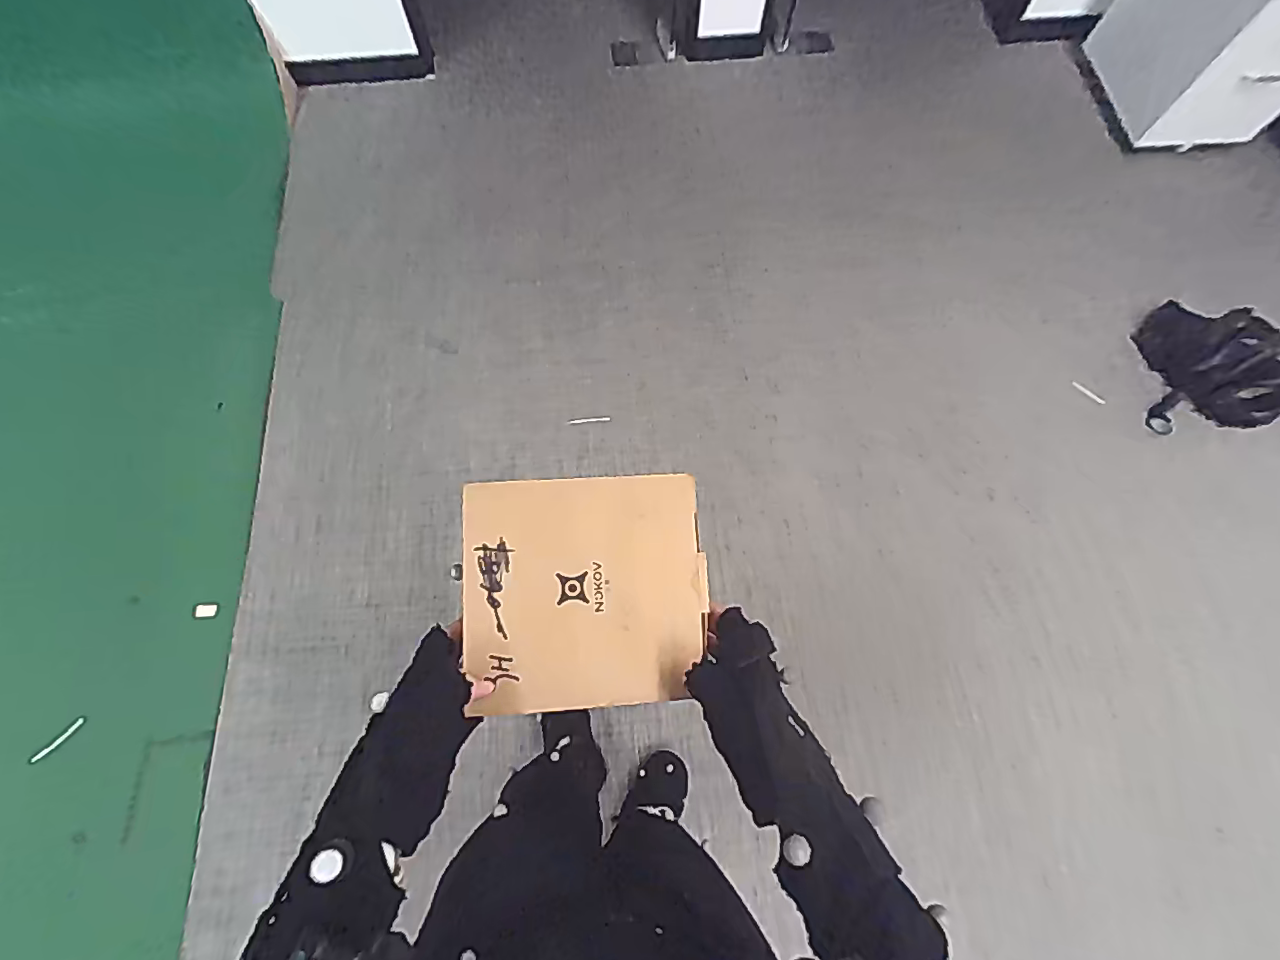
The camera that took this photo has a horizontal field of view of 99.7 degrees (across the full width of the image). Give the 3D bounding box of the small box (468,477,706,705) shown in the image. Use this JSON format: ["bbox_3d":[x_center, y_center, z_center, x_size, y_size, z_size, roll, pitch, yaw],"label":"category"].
[{"bbox_3d":[-0.048,0.092,0.484,0.179,0.176,0.168,-2,80,-6],"label":"small box"}]
